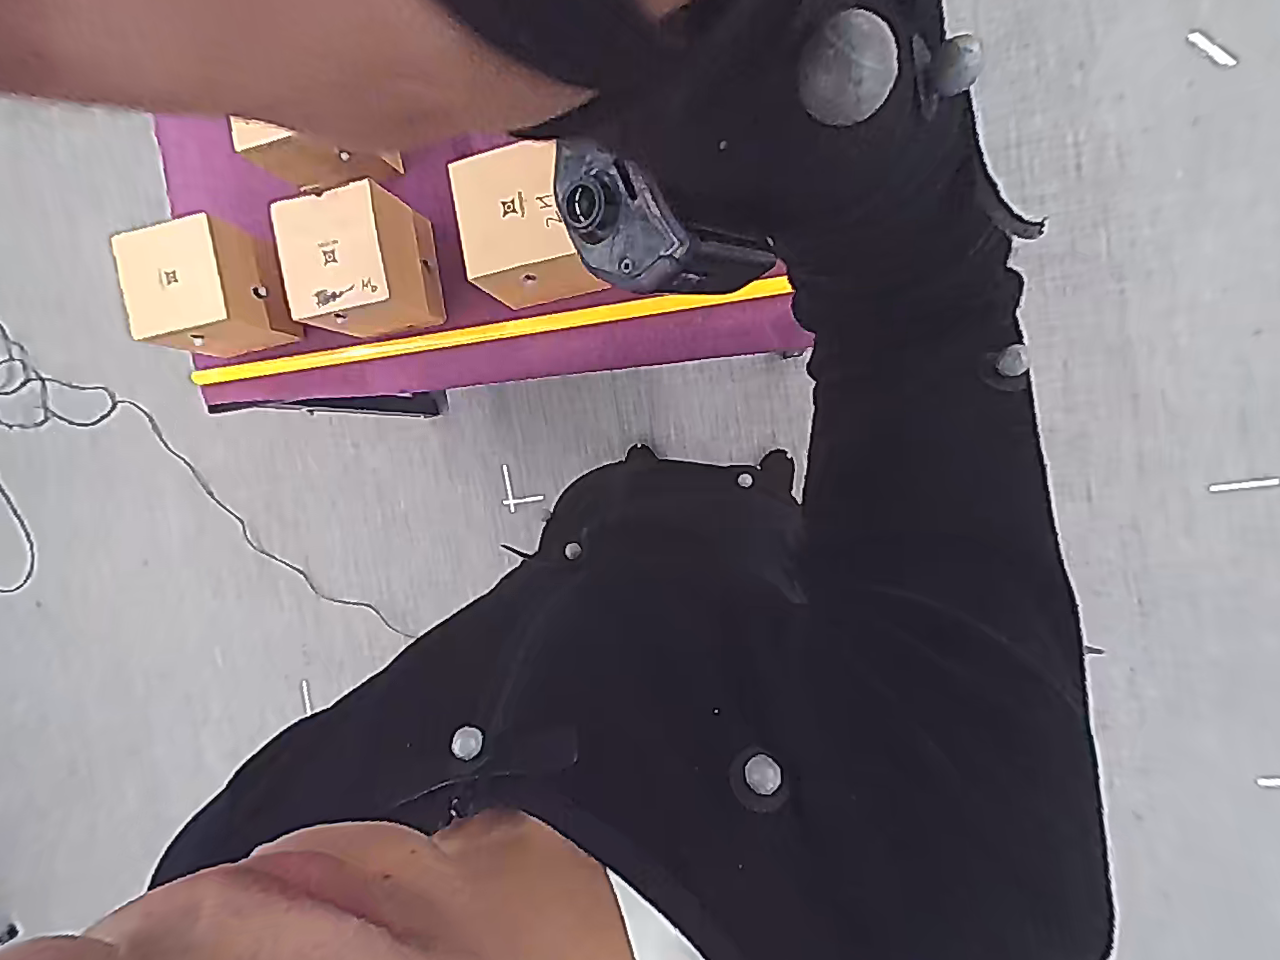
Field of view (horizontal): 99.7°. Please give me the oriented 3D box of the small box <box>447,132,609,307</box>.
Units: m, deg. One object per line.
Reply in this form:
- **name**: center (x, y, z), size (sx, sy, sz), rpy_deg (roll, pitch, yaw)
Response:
- **small box**: center (-0.159, -0.375, 0.815), size (0.179, 0.176, 0.168), rpy_deg (-9, 92, 10)

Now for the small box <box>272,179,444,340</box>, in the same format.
- **small box**: center (-0.439, -0.339, 0.864), size (0.168, 0.176, 0.179), rpy_deg (-8, 93, 11)

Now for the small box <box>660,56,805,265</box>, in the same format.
- **small box**: center (0.129, -0.431, 0.761), size (0.168, 0.176, 0.179), rpy_deg (-8, 91, 12)

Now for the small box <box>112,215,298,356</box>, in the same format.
- **small box**: center (-0.715, -0.315, 0.912), size (0.179, 0.176, 0.168), rpy_deg (-9, 92, 9)
